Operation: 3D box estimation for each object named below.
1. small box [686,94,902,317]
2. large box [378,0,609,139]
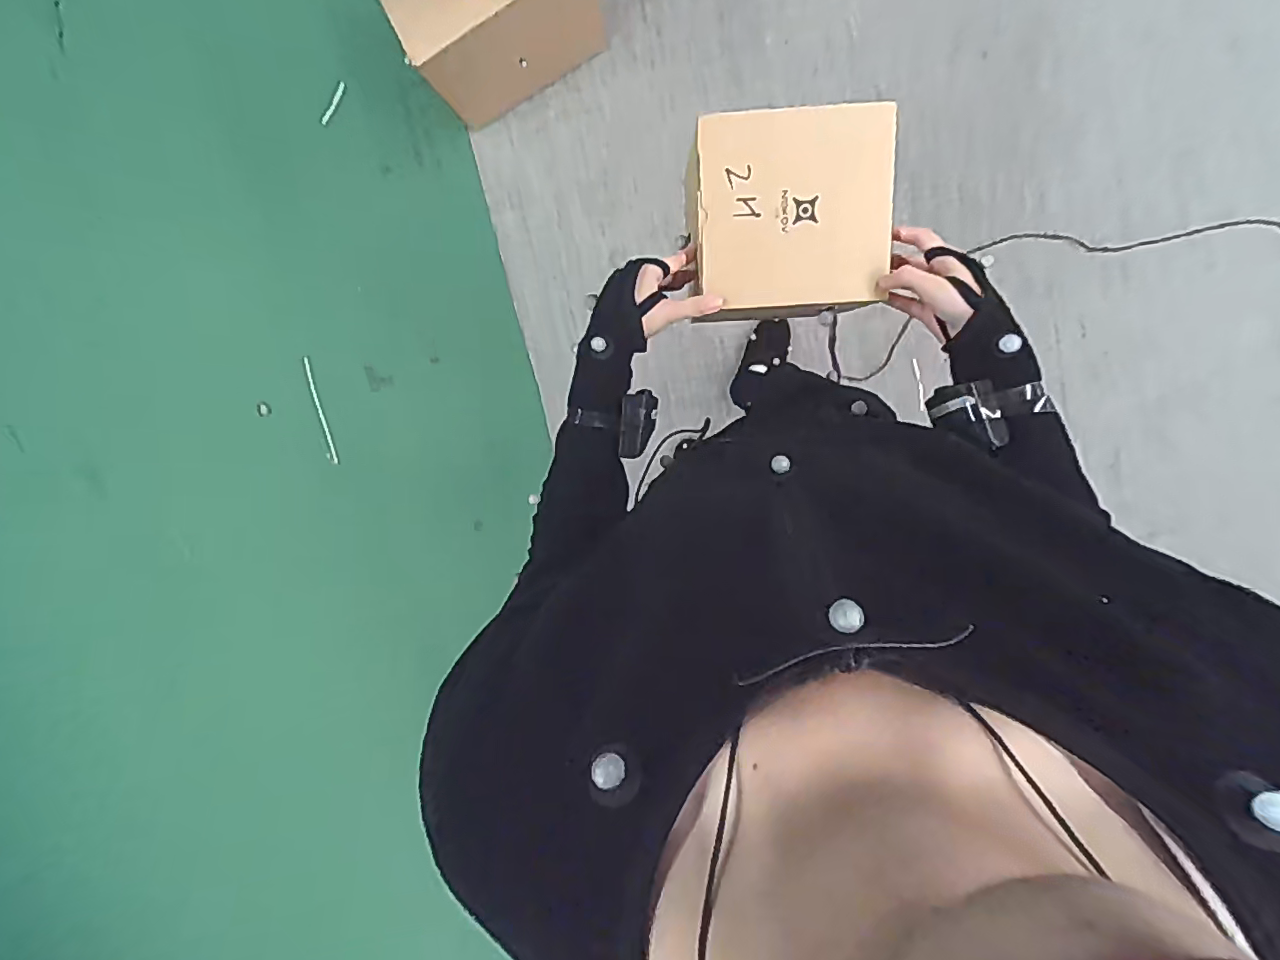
[{"bbox_3d":[0.141,-0.262,0.555,0.179,0.176,0.168,-3,102,2],"label":"small box"},{"bbox_3d":[-0.334,-1.079,1.218,0.408,0.320,0.320,-26,95,11],"label":"large box"}]
